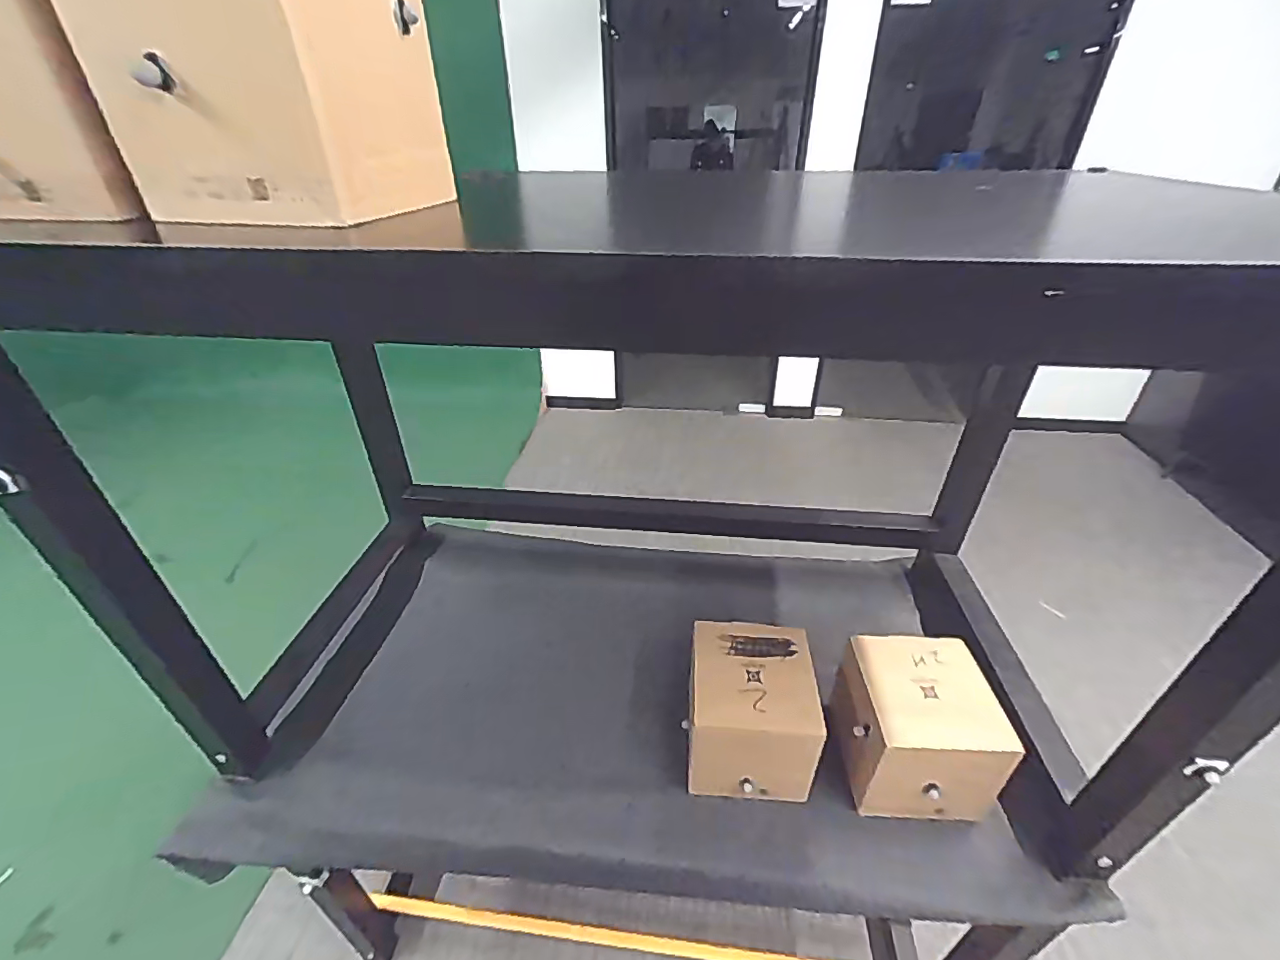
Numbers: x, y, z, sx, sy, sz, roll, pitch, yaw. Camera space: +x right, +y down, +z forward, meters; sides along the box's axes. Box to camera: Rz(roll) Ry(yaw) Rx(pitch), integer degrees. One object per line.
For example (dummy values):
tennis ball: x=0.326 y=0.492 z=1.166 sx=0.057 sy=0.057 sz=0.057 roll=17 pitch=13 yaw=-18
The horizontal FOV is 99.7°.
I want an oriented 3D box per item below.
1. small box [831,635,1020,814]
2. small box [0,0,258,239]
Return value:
small box: x=0.386 y=0.345 z=0.768 sx=0.168 sy=0.176 sz=0.179 roll=1 pitch=33 yaw=2
small box: x=-0.461 y=-0.308 z=0.446 sx=0.168 sy=0.176 sz=0.179 roll=3 pitch=35 yaw=4
